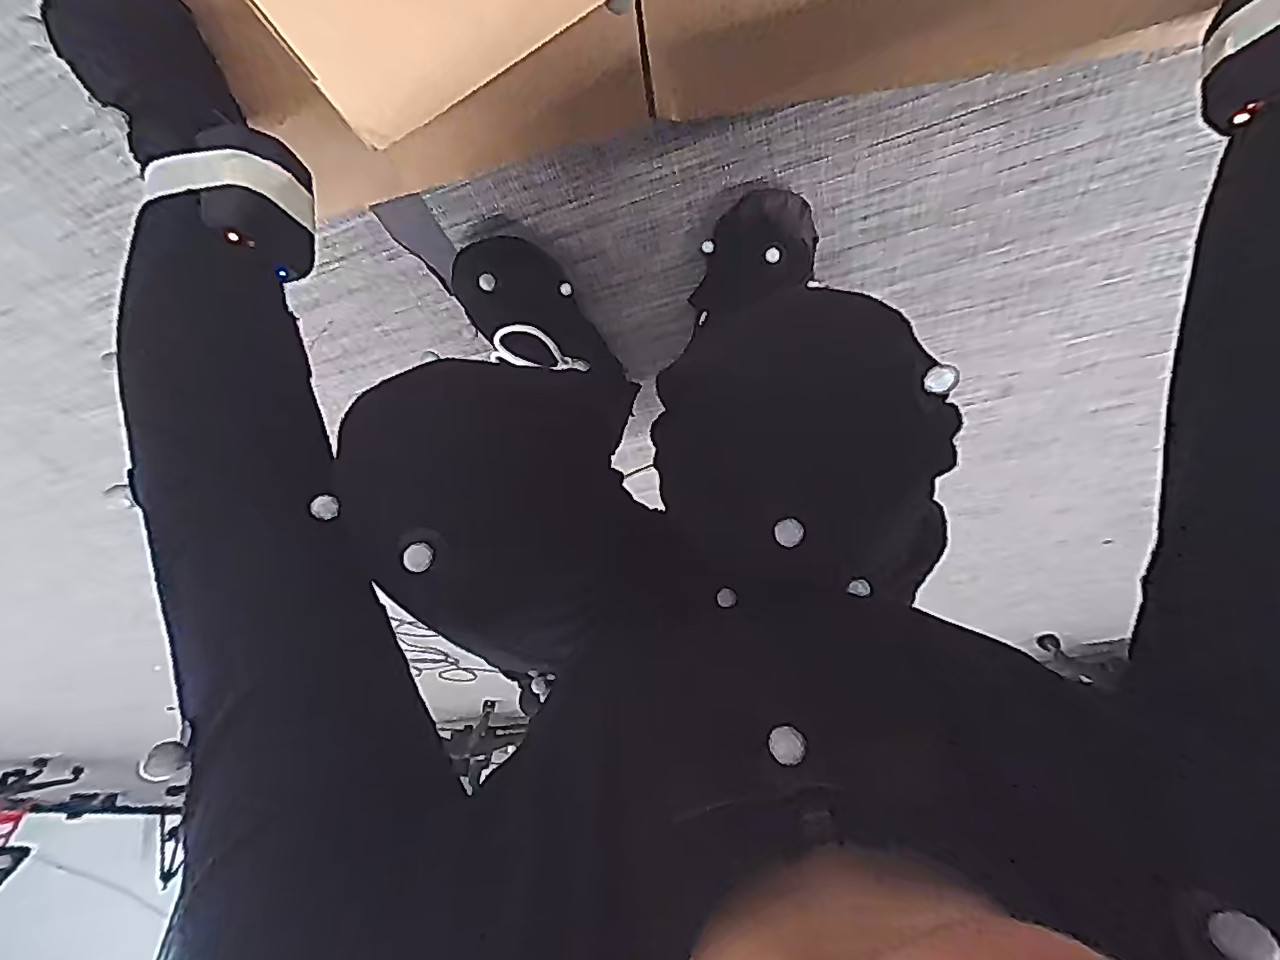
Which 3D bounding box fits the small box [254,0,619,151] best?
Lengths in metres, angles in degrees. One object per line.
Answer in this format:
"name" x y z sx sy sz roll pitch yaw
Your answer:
"small box" -0.088 -0.279 0.206 0.179 0.176 0.168 -25 141 11
